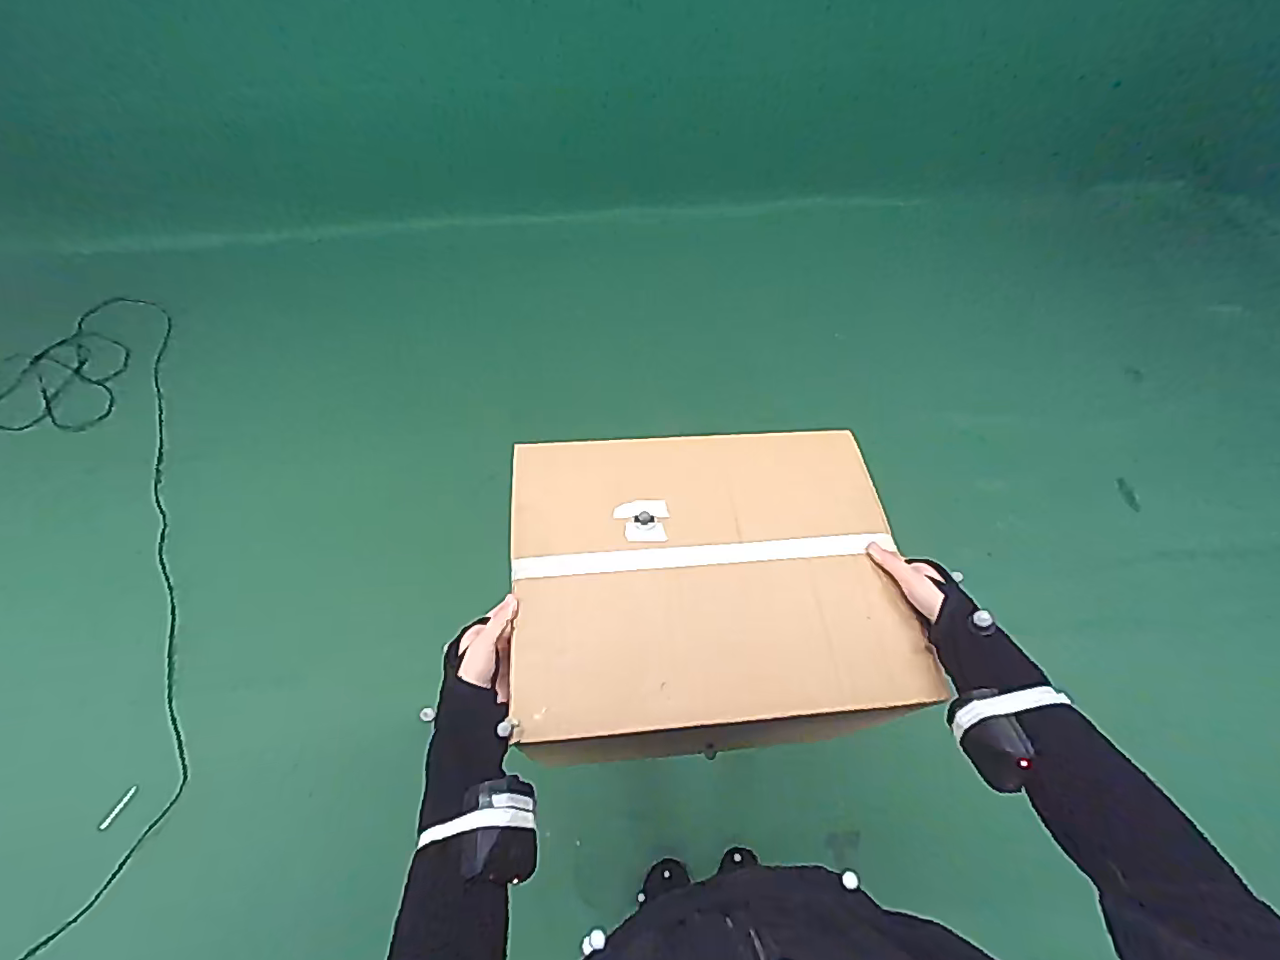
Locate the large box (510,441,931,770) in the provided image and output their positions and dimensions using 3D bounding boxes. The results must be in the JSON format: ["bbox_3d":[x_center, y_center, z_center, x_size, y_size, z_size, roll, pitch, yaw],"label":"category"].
[{"bbox_3d":[0.062,0.172,0.697,0.408,0.320,0.320,-4,58,-5],"label":"large box"}]
